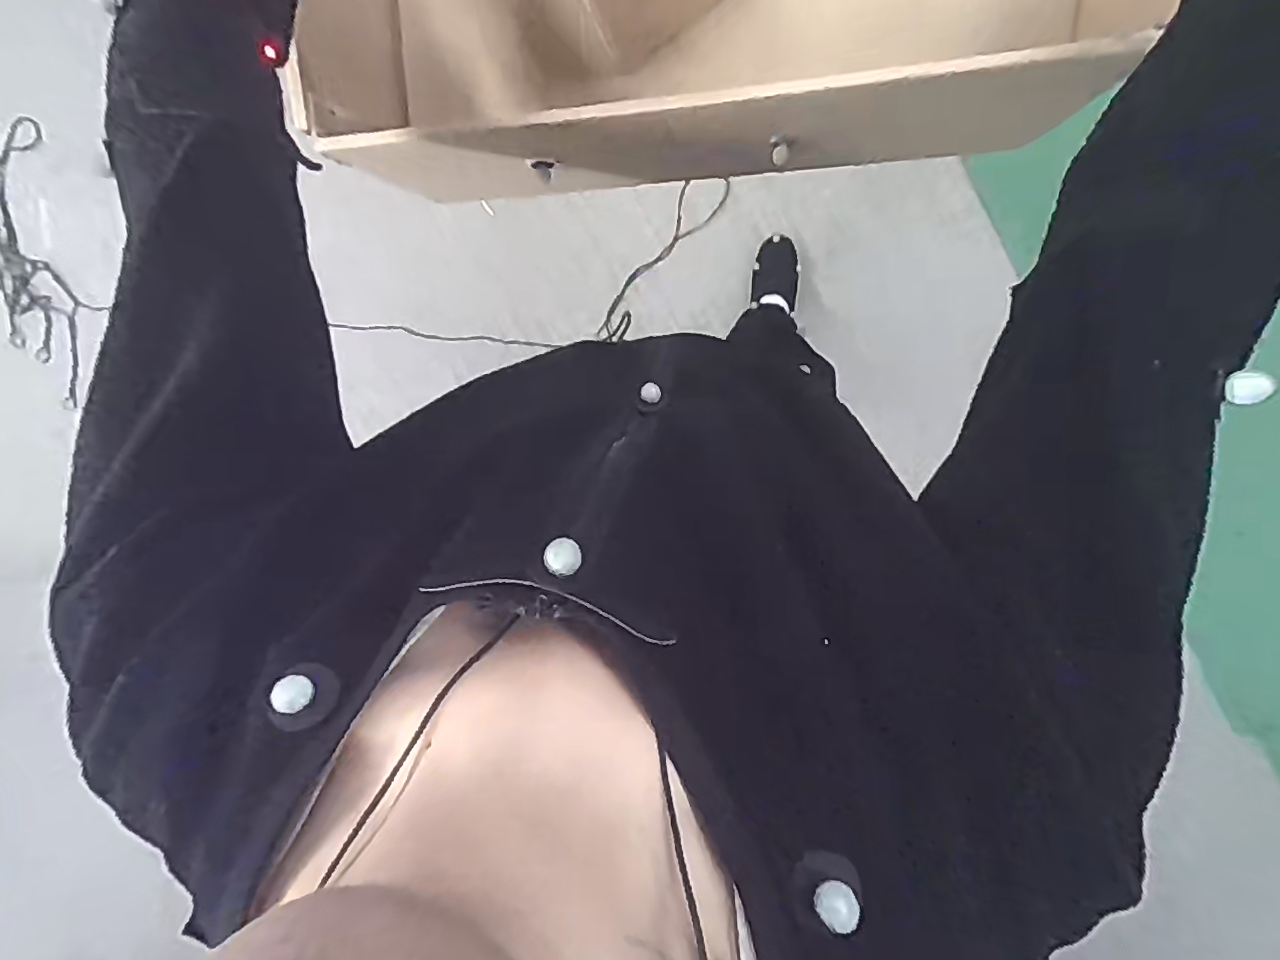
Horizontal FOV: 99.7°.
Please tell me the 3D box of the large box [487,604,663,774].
[{"bbox_3d":[-0.160,0.559,1.507,0.408,0.320,0.320,1,103,12],"label":"large box"}]
